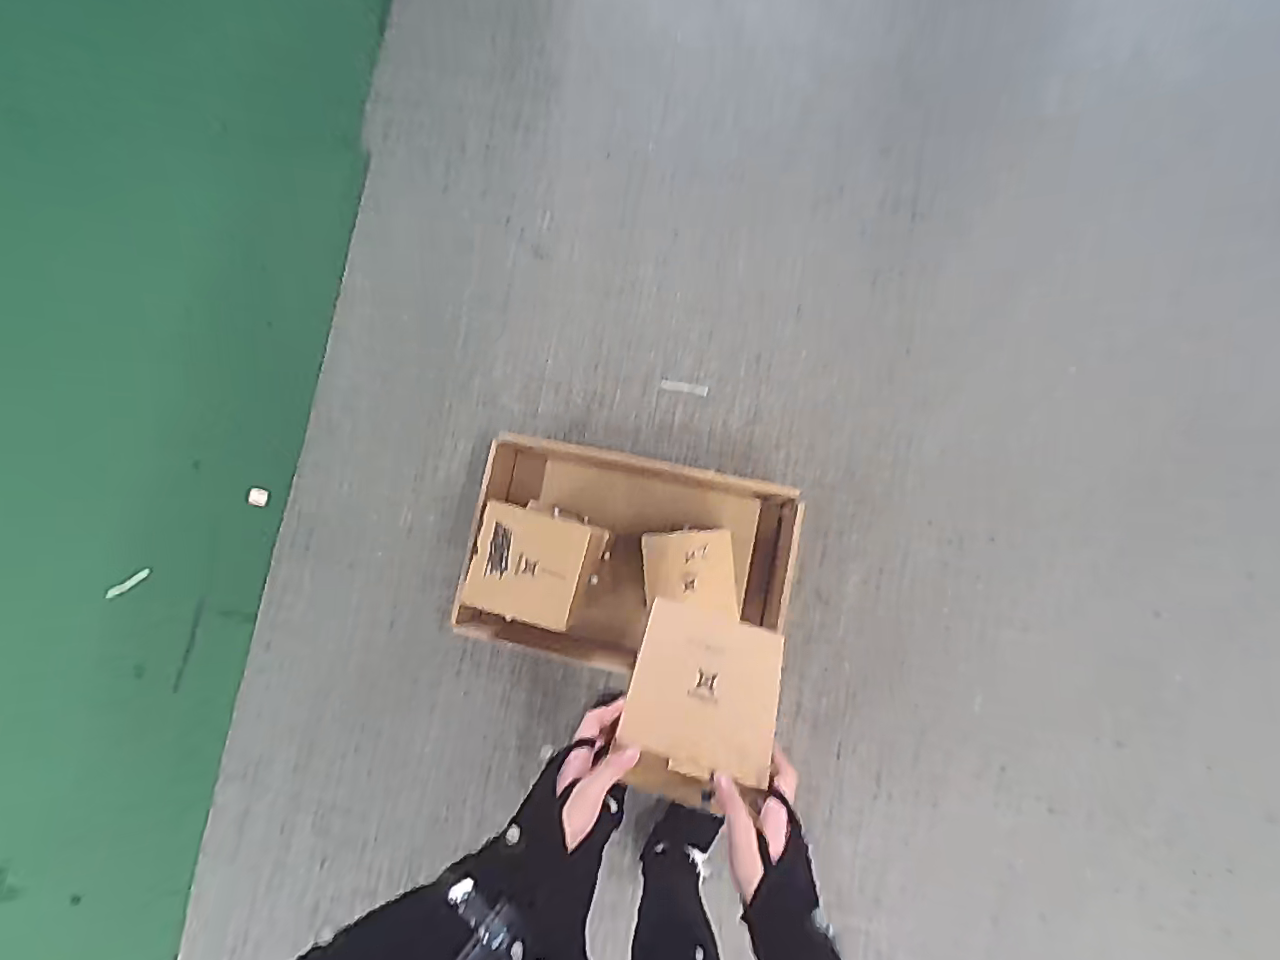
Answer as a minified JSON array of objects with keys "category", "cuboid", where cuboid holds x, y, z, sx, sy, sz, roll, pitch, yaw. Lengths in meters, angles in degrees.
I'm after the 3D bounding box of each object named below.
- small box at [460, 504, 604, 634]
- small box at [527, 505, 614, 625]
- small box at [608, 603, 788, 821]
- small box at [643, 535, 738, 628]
[{"category":"small box","cuboid":[-0.172,0.148,0.919,0.179,0.176,0.168,15,84,5]},{"category":"small box","cuboid":[-0.161,0.167,1.082,0.168,0.176,0.179,22,84,6]},{"category":"small box","cuboid":[0.064,0.283,0.650,0.168,0.176,0.179,17,50,5]},{"category":"small box","cuboid":[0.099,0.199,1.057,0.168,0.176,0.179,-4,83,4]}]
